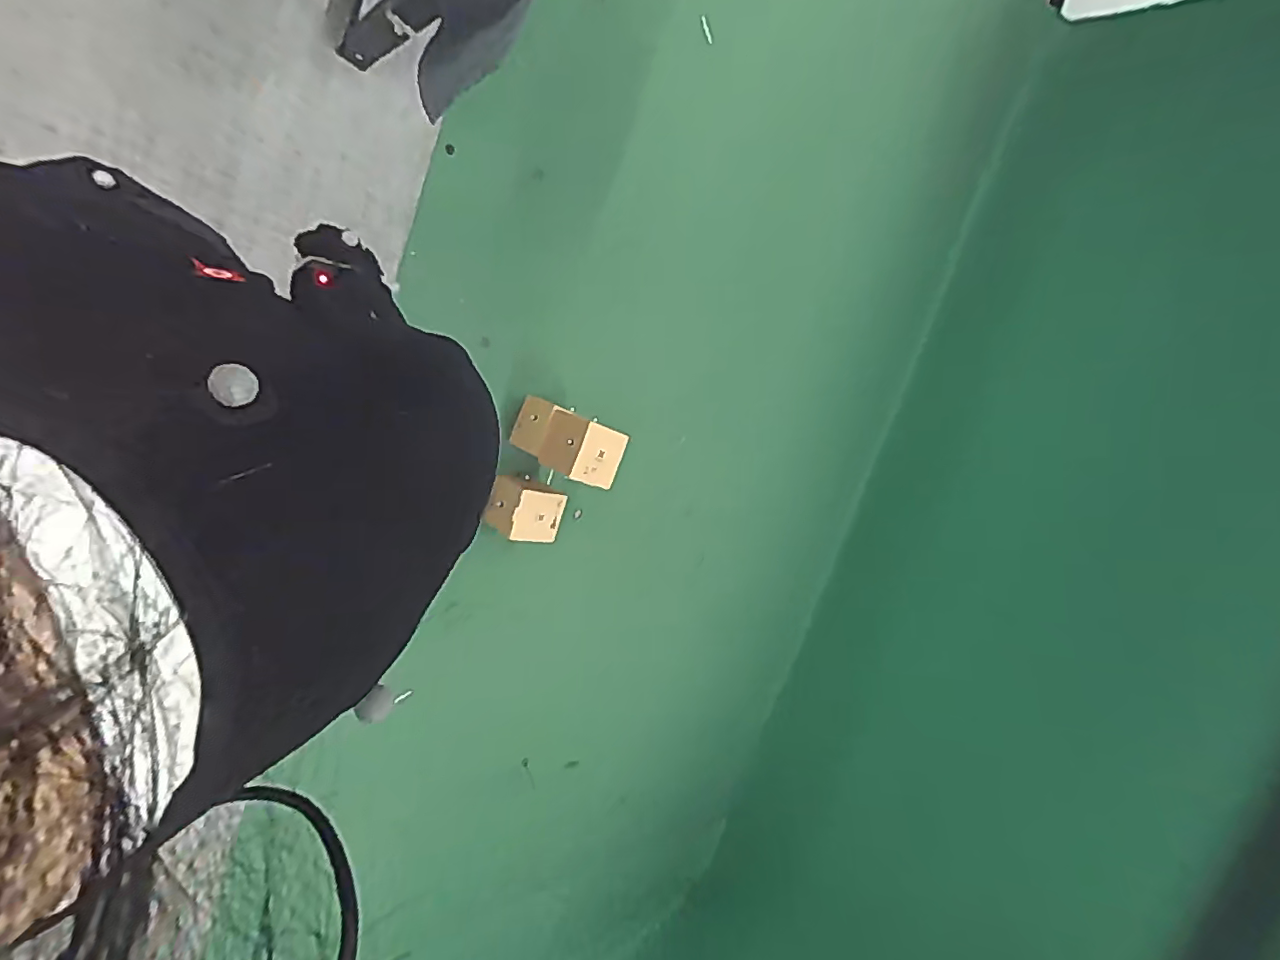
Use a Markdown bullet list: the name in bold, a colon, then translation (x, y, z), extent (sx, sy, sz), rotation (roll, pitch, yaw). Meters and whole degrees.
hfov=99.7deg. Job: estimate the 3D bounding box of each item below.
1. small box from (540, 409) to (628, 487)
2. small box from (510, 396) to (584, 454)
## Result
- **small box**: translation (-0.172, -0.099, 1.619), extent (0.168, 0.176, 0.179), rotation (19, 94, -47)
- **small box**: translation (-0.285, -0.159, 1.723), extent (0.179, 0.176, 0.168), rotation (20, 93, -47)
